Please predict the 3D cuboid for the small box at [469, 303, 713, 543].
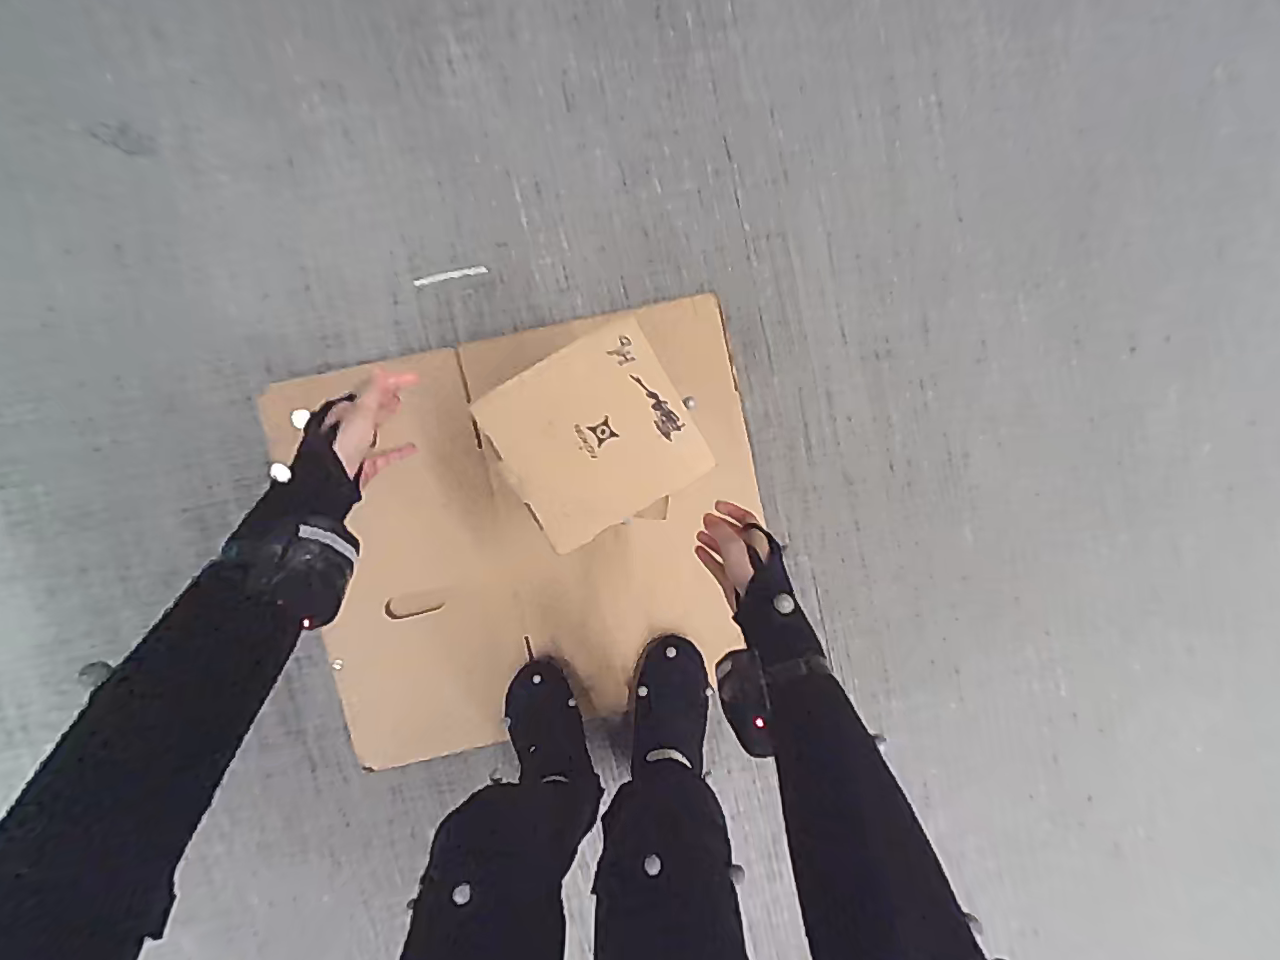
[{"bbox_3d":[-0.046,-0.055,0.576,0.179,0.176,0.168,-30,94,-1],"label":"small box"}]
